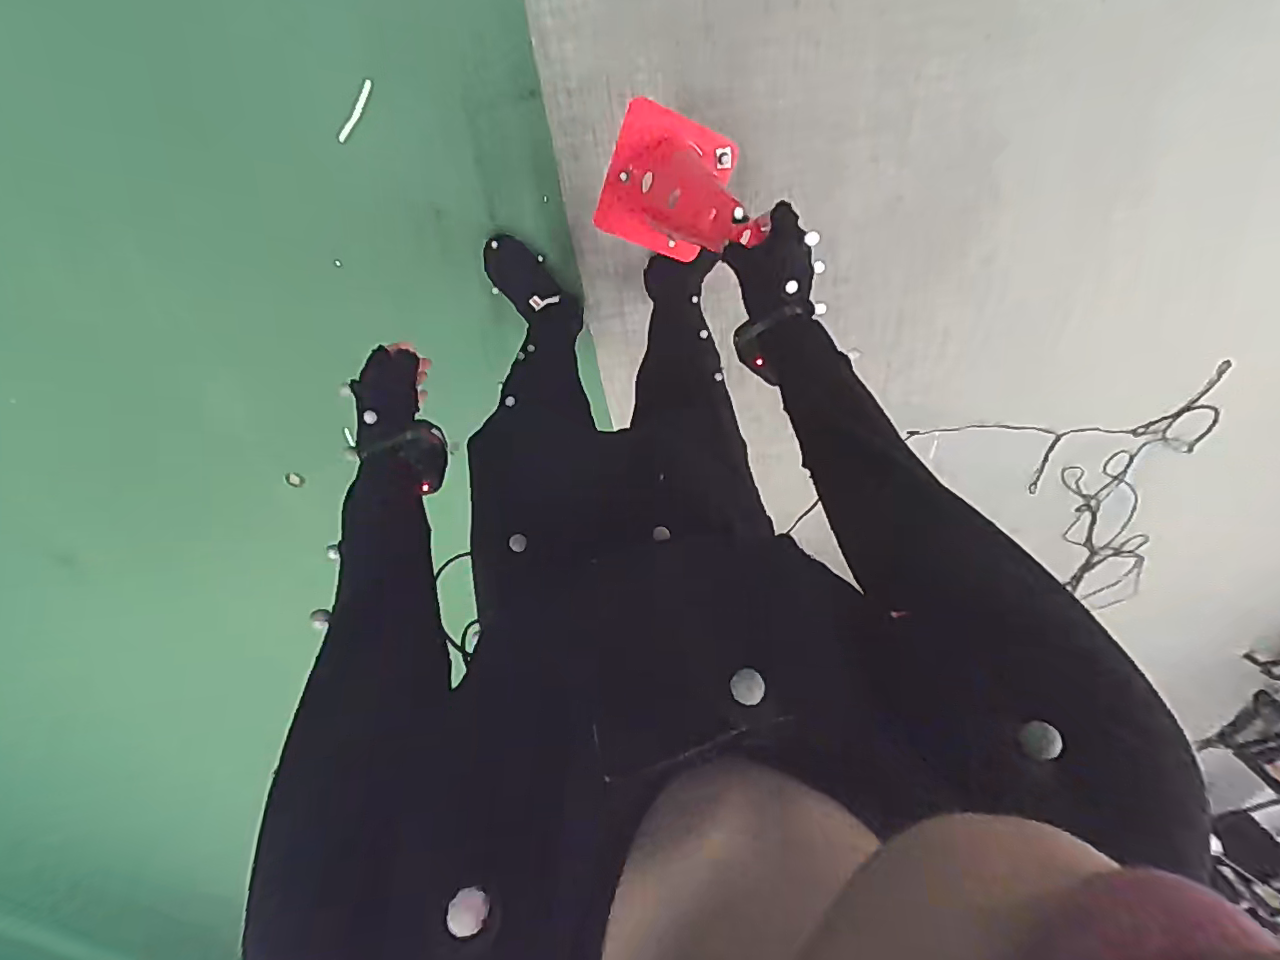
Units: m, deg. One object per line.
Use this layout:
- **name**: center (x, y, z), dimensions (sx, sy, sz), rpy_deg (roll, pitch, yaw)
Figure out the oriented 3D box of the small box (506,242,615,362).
- **small box**: center (-0.178, -0.398, 1.199), dimensions (0.168, 0.176, 0.179), rpy_deg (-29, 129, -4)
